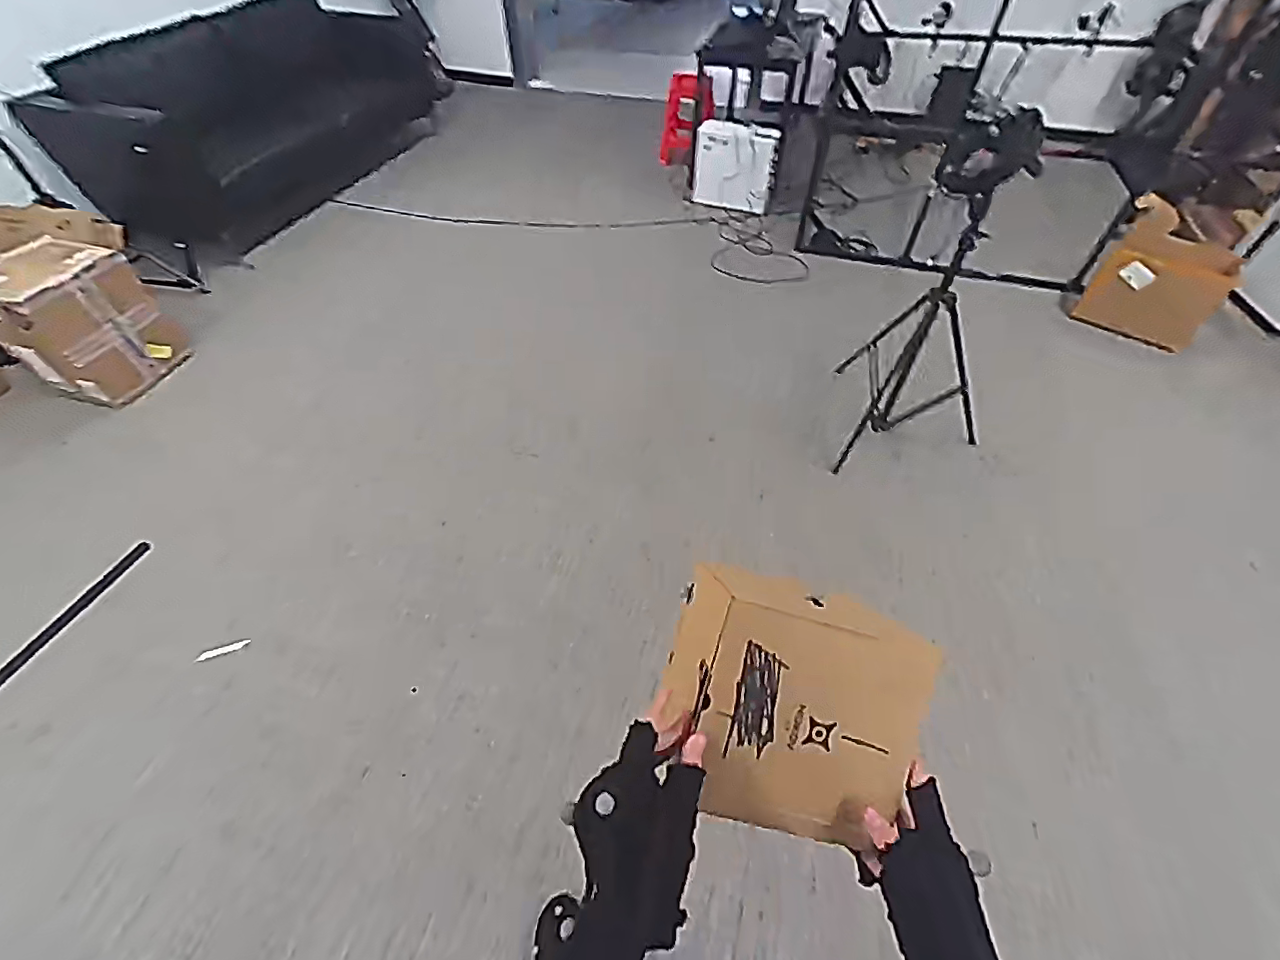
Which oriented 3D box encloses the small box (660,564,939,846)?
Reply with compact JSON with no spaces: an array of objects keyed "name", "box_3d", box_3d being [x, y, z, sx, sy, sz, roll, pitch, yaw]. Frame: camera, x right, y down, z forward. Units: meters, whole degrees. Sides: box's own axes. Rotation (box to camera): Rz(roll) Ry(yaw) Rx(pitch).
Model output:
[{"name":"small box","box_3d":[0.124,0.183,0.493,0.179,0.176,0.168,15,90,-4]}]
